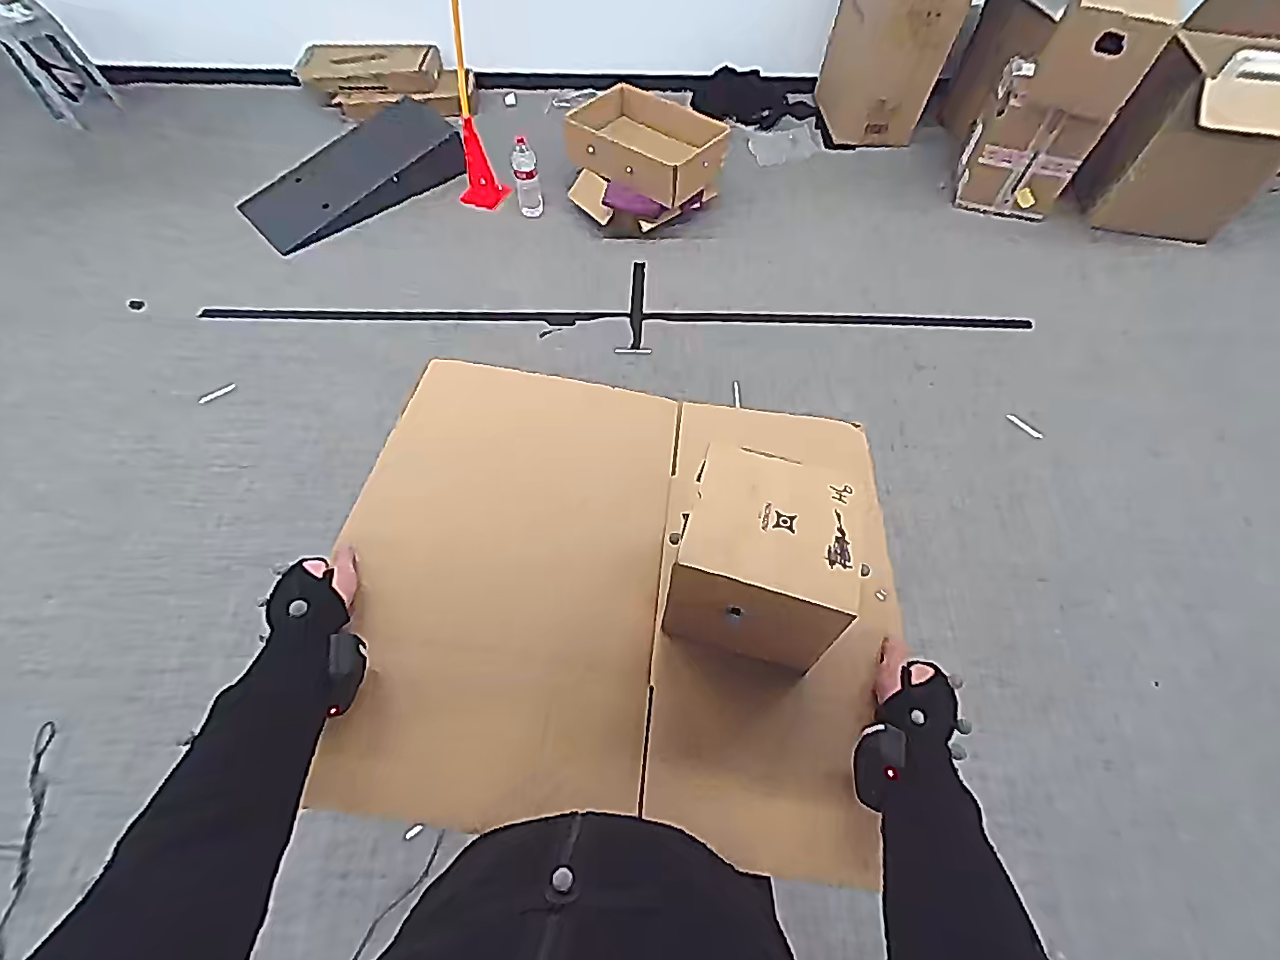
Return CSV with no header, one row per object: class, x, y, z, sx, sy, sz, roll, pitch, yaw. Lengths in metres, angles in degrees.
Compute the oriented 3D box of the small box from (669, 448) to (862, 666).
small box,0.136,0.093,0.622,0.179,0.176,0.168,14,54,9
